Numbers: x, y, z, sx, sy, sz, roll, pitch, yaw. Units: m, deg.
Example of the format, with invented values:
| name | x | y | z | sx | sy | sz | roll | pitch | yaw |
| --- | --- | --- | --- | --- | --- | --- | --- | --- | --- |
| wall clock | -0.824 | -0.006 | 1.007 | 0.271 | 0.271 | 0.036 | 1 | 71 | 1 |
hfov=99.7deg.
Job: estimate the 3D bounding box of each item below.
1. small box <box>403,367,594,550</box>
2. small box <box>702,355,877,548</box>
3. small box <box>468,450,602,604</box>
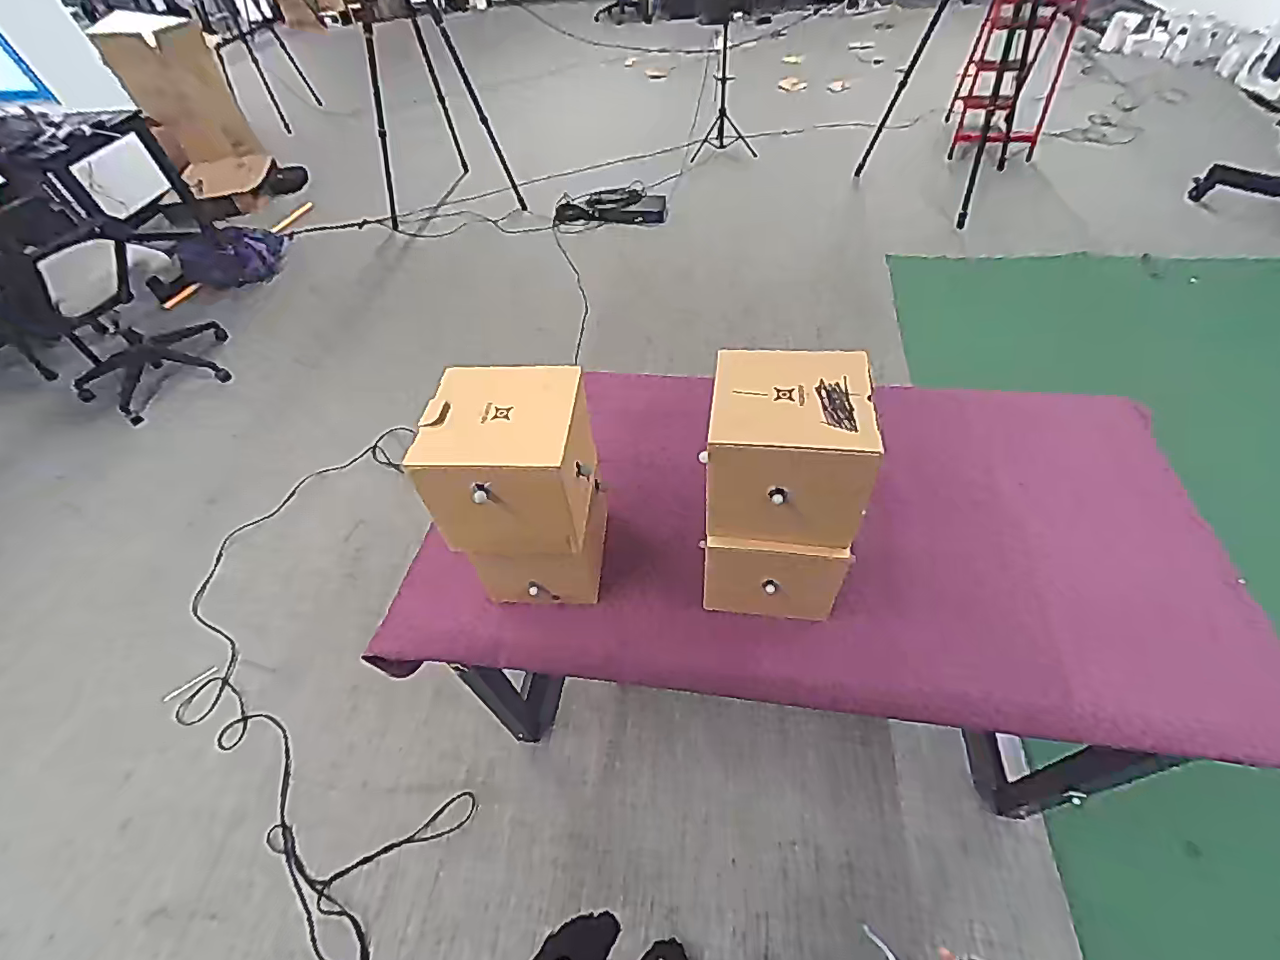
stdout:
| name | x | y | z | sx | sy | sz | roll | pitch | yaw |
| --- | --- | --- | --- | --- | --- | --- | --- | --- | --- |
| small box | -0.158 | -0.023 | 0.681 | 0.179 | 0.176 | 0.168 | 1 | 51 | 5 |
| small box | 0.172 | -0.032 | 0.663 | 0.179 | 0.176 | 0.168 | 4 | 49 | 10 |
| small box | -0.151 | 0.067 | 0.817 | 0.168 | 0.176 | 0.179 | 1 | 50 | 5 |
